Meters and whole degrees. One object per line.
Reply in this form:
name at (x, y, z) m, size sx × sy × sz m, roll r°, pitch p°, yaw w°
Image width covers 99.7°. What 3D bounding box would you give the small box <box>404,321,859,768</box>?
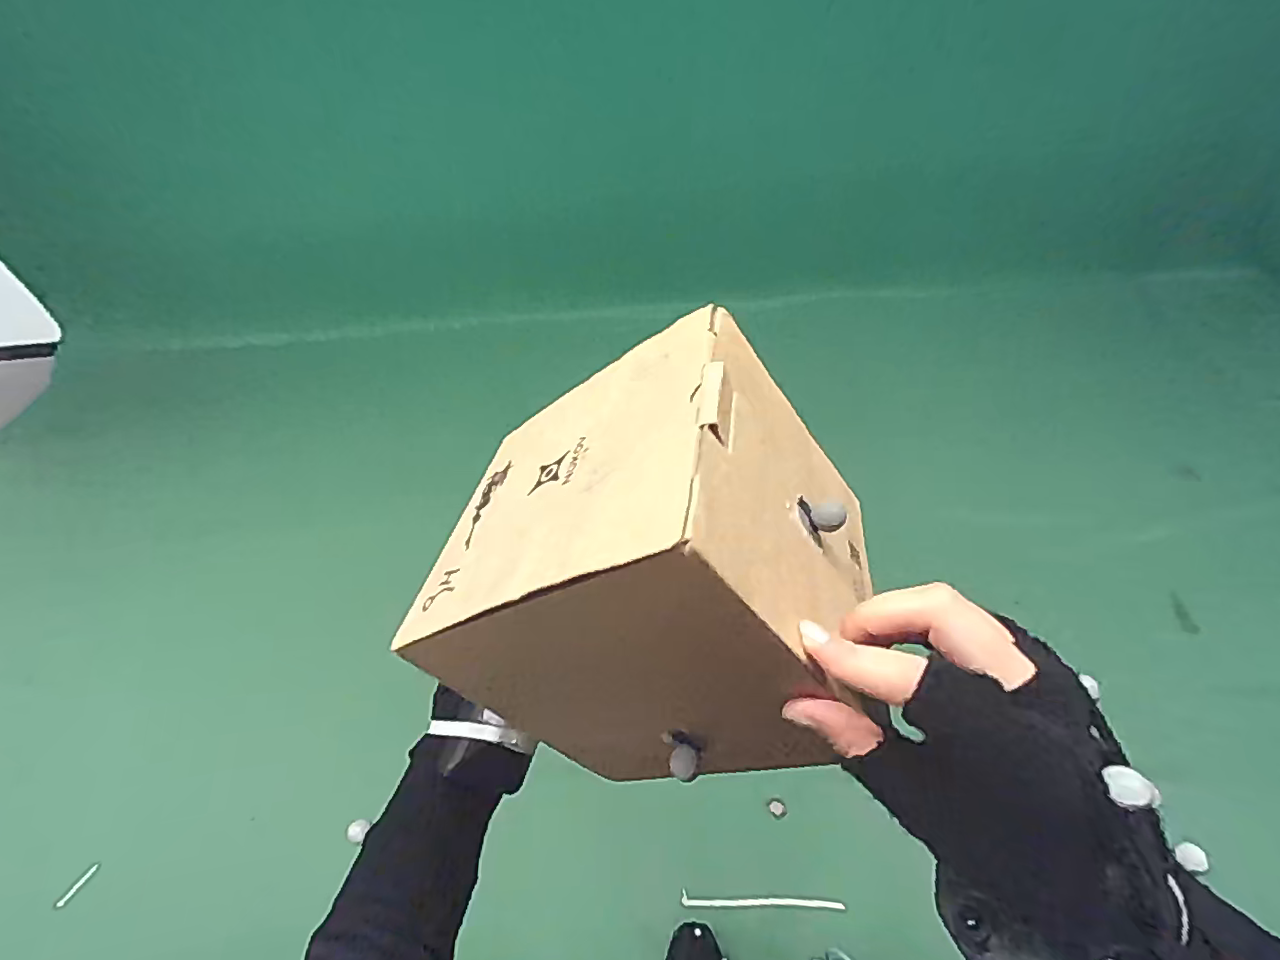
small box at (0.012, 0.050, 0.317) m, size 0.179 × 0.176 × 0.168 m, roll -24°, pitch 34°, yaw 32°
